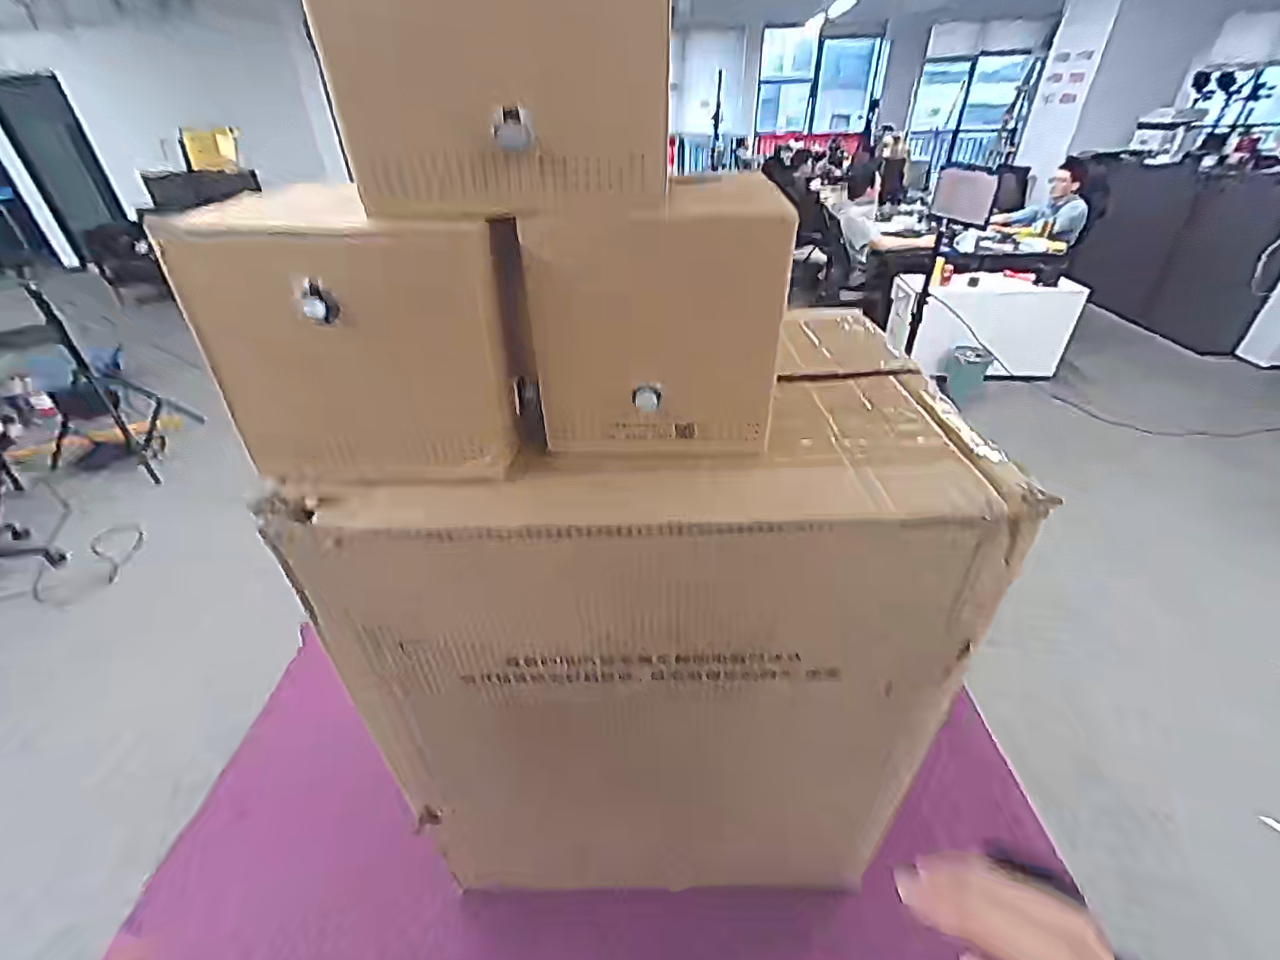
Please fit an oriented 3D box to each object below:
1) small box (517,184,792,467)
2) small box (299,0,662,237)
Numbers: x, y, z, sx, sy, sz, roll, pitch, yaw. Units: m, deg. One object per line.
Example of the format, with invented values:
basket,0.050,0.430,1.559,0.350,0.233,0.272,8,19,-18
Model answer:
small box,0.013,-0.127,0.428,0.168,0.176,0.179,0,36,3
small box,-0.084,-0.257,0.333,0.179,0.176,0.168,-6,36,-7
